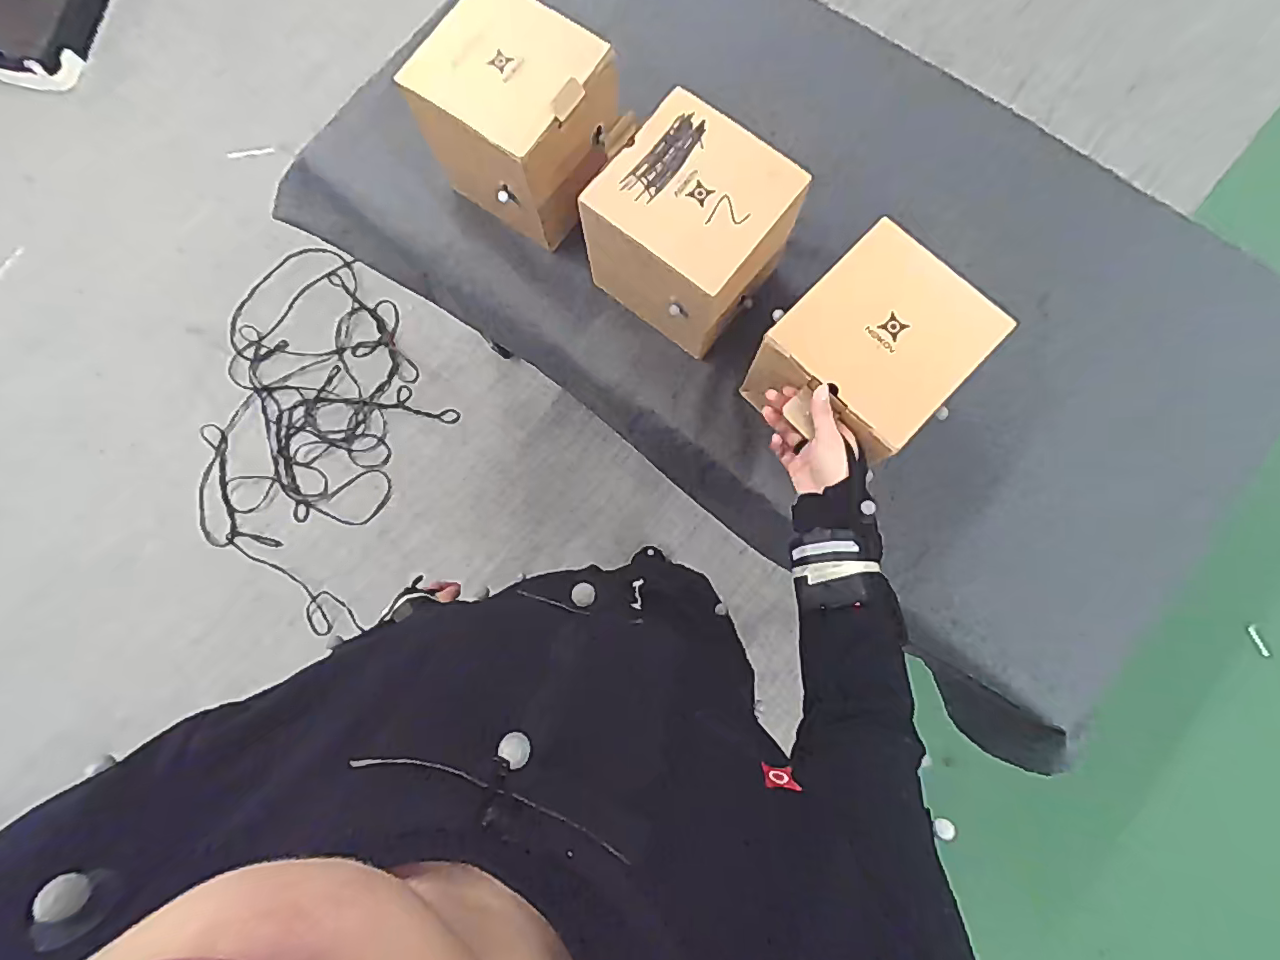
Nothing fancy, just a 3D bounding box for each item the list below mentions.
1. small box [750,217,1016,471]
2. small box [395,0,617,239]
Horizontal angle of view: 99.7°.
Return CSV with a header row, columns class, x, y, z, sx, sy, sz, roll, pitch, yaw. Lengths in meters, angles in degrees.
class,x,y,z,sx,sy,sz,roll,pitch,yaw
small box,0.242,-0.133,0.591,0.168,0.176,0.179,44,85,7
small box,-0.141,-0.425,0.646,0.179,0.176,0.168,34,83,7
